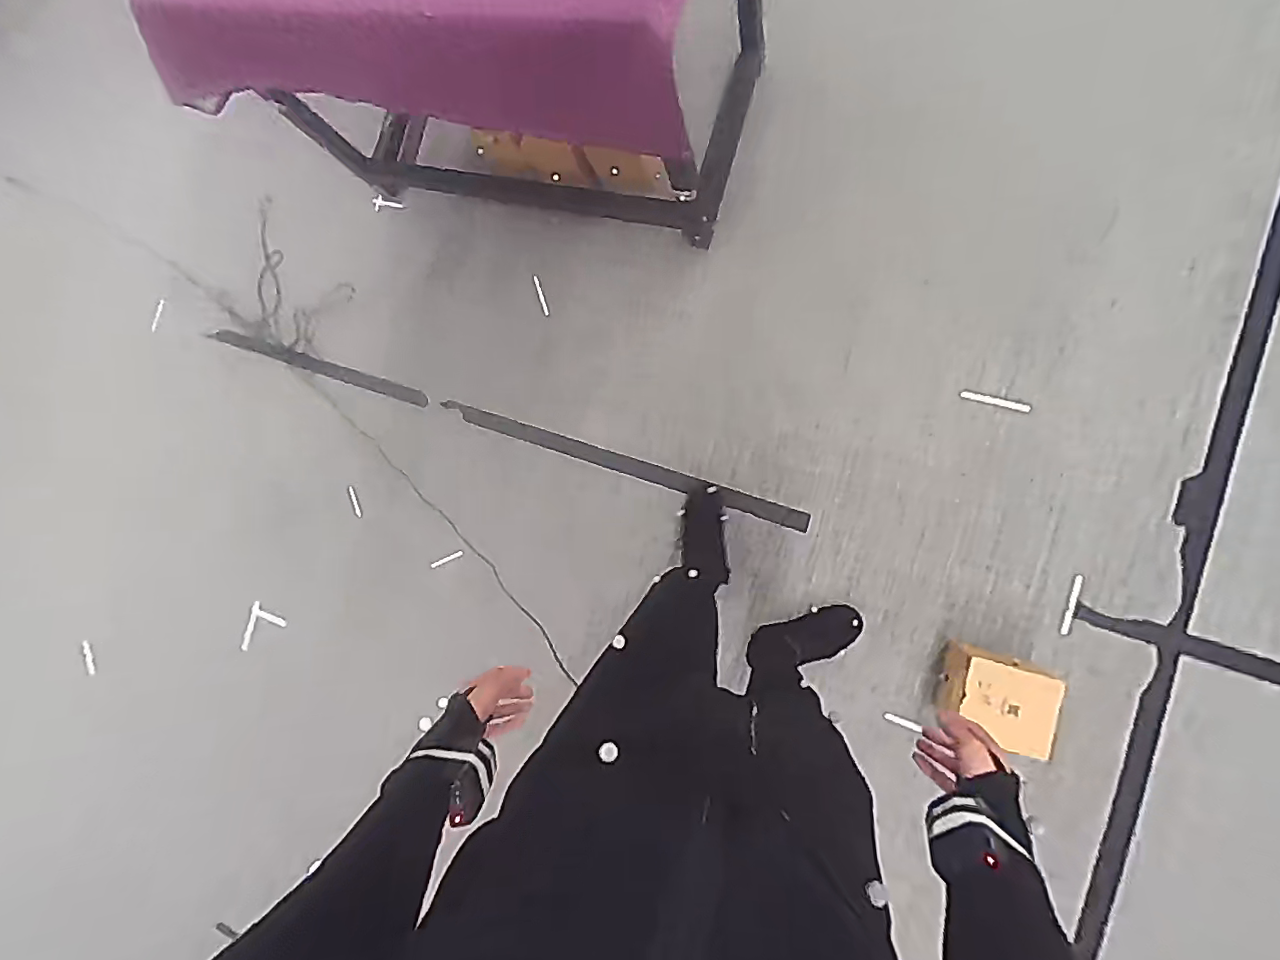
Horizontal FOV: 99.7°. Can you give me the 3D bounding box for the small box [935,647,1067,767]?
[{"bbox_3d":[0.768,0.478,1.170,0.179,0.176,0.168,14,89,17],"label":"small box"}]
